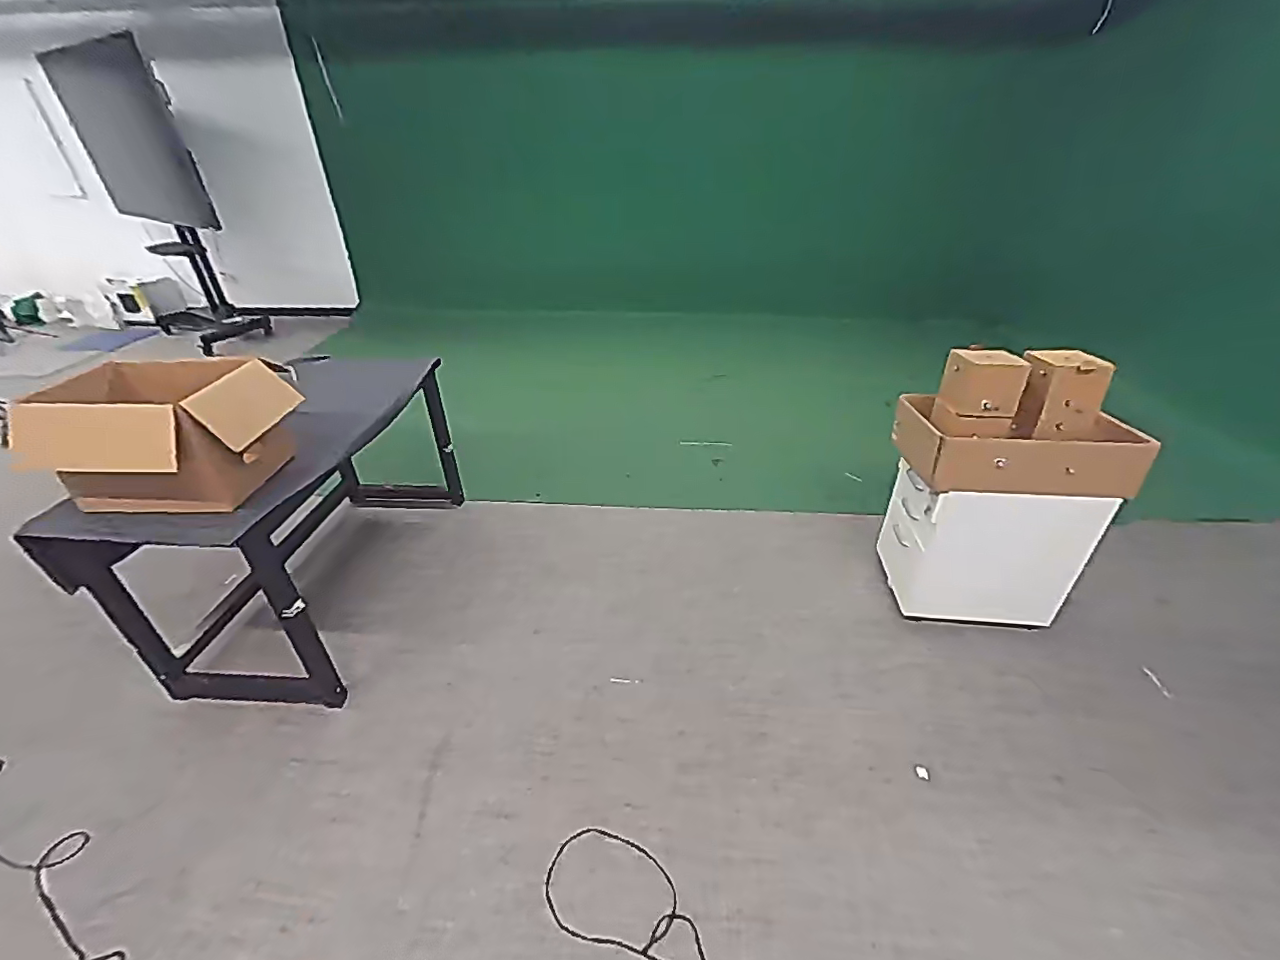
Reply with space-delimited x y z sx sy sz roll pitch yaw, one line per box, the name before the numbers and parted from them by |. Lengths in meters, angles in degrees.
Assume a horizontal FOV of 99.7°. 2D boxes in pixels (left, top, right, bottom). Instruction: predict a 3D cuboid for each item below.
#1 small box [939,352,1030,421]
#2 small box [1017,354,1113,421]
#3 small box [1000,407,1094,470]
small box | 1.074 -0.297 1.703 0.168 0.176 0.179 2 28 4
small box | 1.307 -0.291 1.693 0.168 0.176 0.179 0 28 4
small box | 1.315 -0.144 1.764 0.168 0.176 0.179 0 26 6
